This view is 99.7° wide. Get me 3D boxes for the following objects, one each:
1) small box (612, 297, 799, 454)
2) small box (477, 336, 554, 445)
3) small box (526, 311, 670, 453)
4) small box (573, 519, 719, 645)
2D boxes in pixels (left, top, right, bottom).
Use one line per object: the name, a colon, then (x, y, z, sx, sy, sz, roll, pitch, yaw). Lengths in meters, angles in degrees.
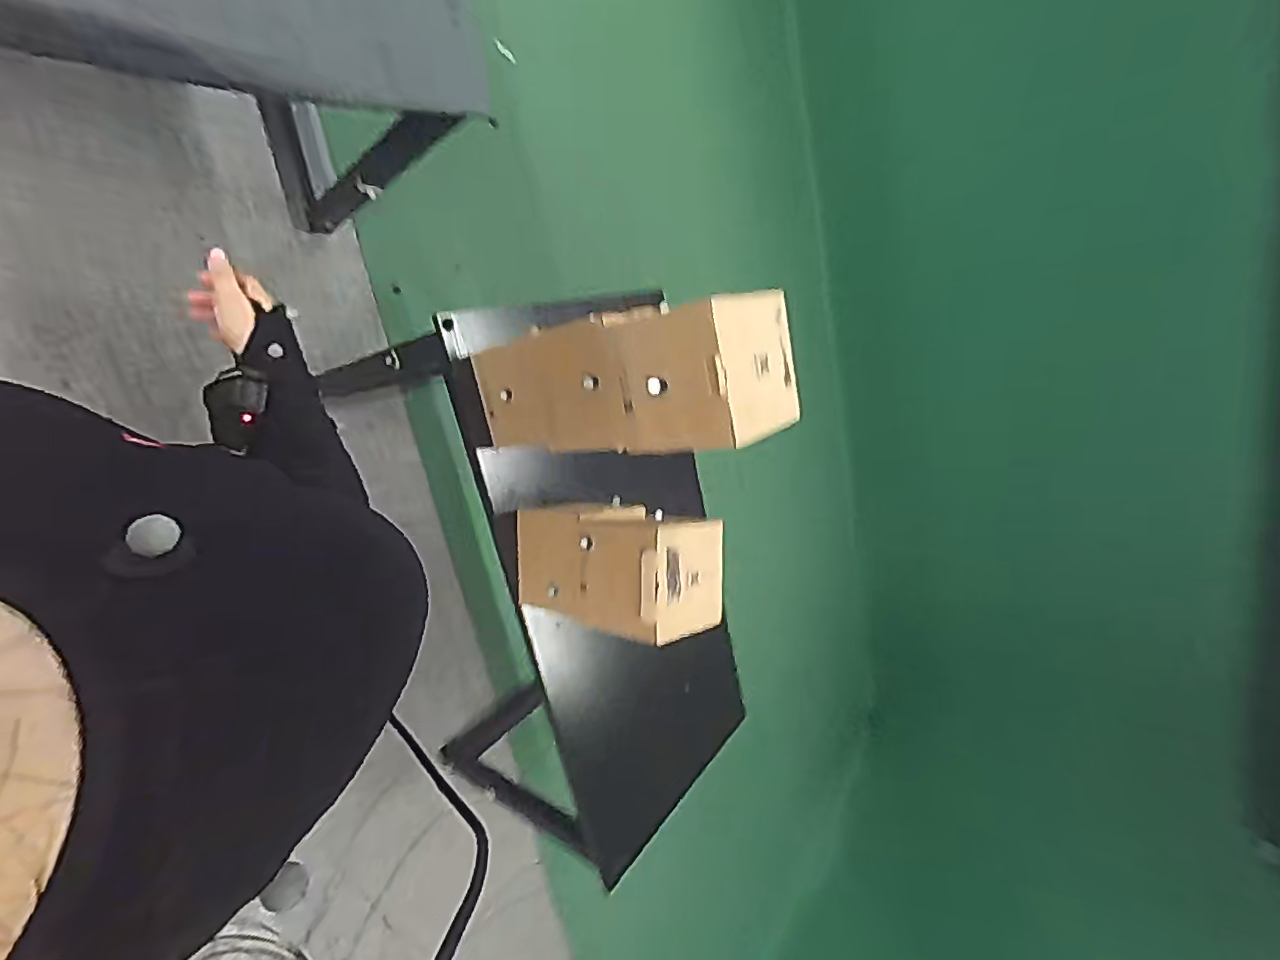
small box: (0.080, -0.132, 0.697, 0.179, 0.176, 0.168, -23, 107, -45)
small box: (-0.156, -0.157, 0.922, 0.179, 0.176, 0.168, -25, 110, -46)
small box: (-0.044, -0.144, 0.805, 0.168, 0.176, 0.179, -25, 109, -45)
small box: (0.008, 0.151, 0.867, 0.179, 0.176, 0.168, 2, 90, -49)
